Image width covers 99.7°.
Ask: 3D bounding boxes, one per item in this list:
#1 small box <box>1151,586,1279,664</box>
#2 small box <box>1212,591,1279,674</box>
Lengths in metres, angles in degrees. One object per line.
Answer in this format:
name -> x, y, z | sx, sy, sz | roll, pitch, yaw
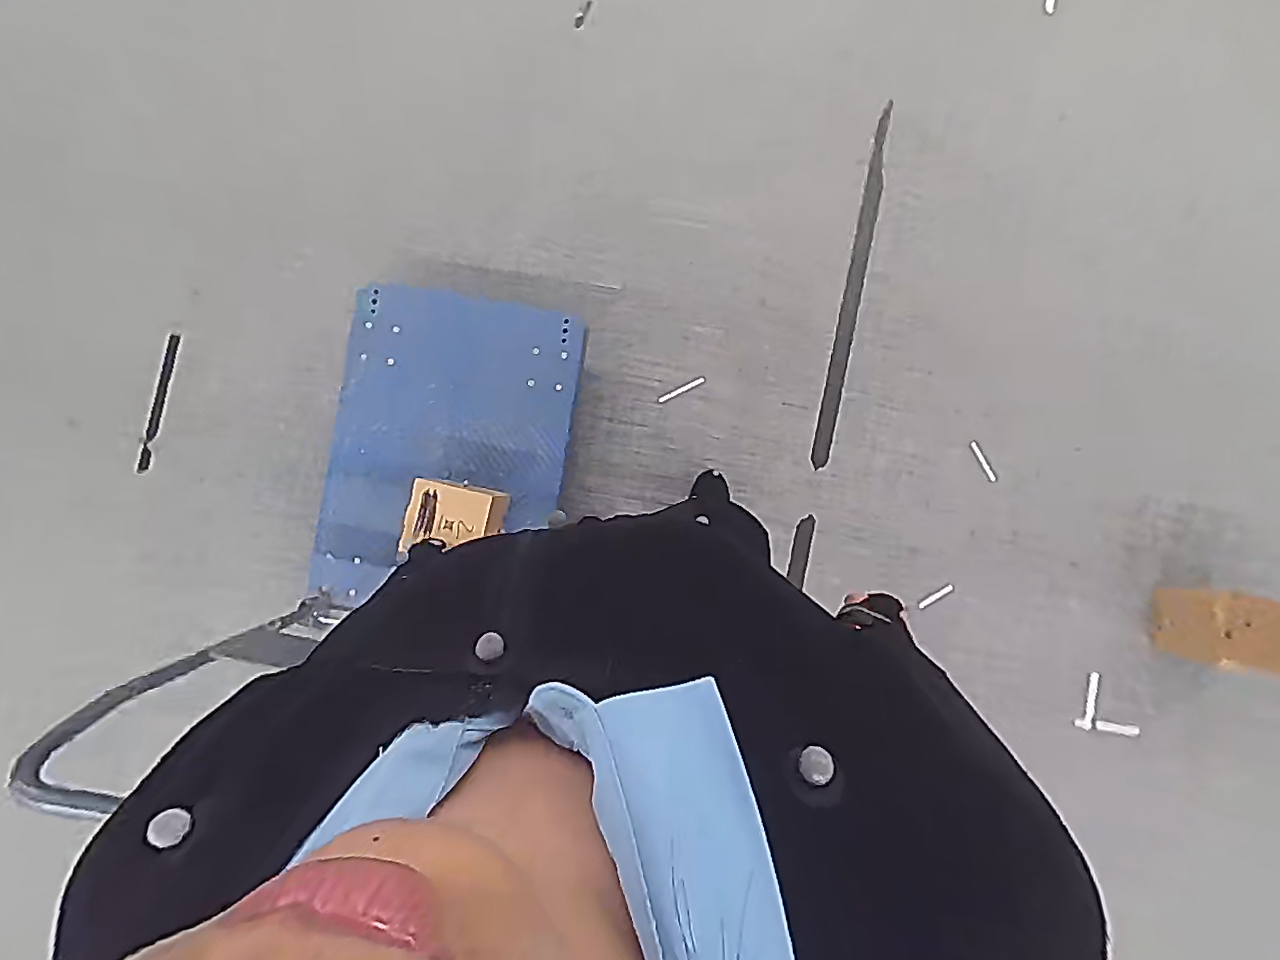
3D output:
small box -> 1.496, 0.372, 1.409 | 0.179, 0.176, 0.168 | -1, 88, 0
small box -> 1.504, 0.362, 1.246 | 0.179, 0.176, 0.168 | 11, 89, 1
